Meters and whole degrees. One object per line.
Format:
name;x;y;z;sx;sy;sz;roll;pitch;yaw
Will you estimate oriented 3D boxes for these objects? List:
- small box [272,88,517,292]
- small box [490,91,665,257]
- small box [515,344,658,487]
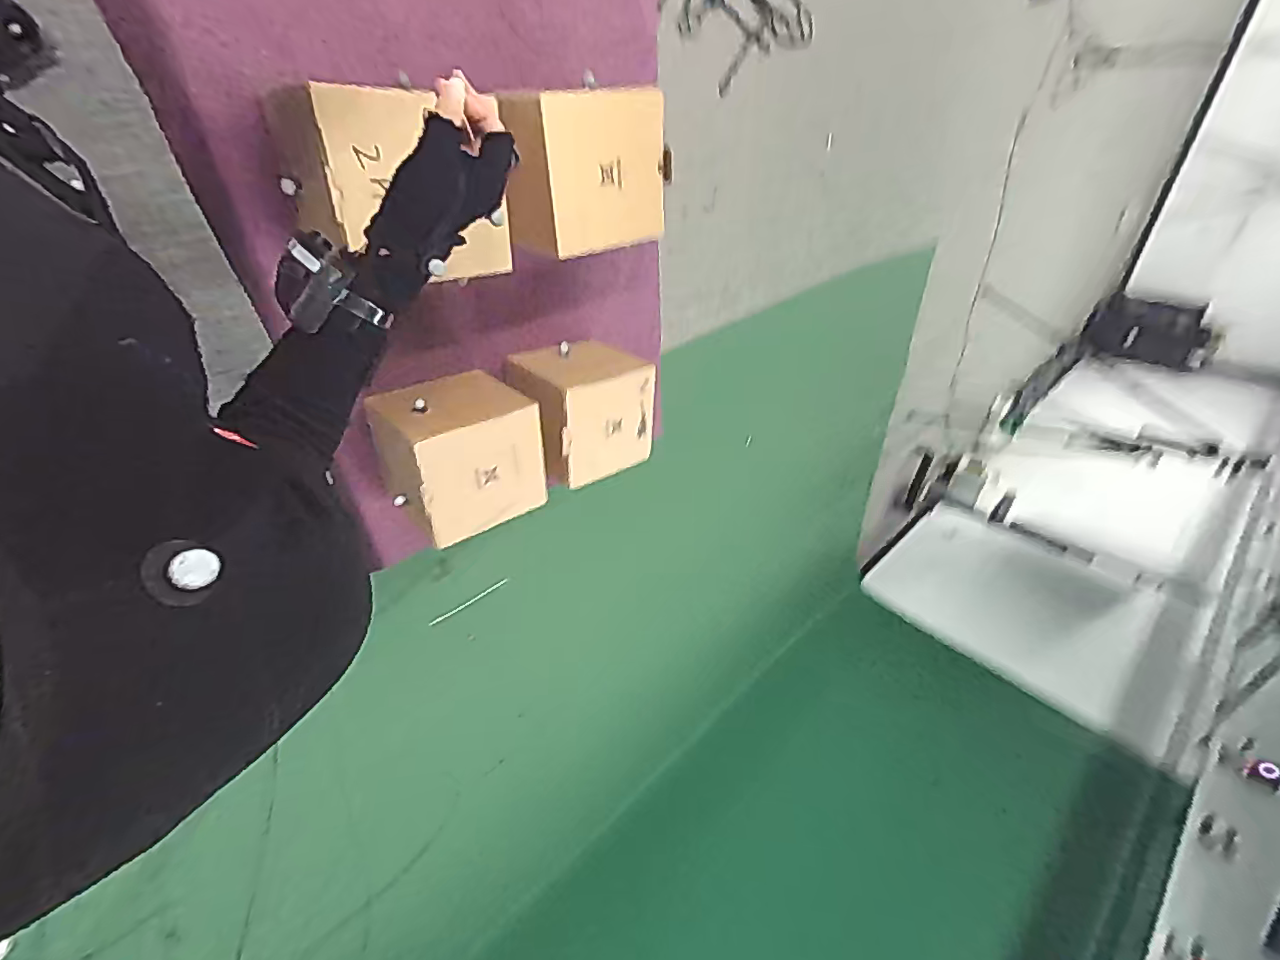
small box;-0.257;-0.313;0.582;0.179;0.176;0.168;-24;130;-35
small box;-0.088;-0.402;0.707;0.179;0.176;0.168;-29;133;-32
small box;-0.093;-0.114;0.888;0.179;0.176;0.168;-22;129;-36
